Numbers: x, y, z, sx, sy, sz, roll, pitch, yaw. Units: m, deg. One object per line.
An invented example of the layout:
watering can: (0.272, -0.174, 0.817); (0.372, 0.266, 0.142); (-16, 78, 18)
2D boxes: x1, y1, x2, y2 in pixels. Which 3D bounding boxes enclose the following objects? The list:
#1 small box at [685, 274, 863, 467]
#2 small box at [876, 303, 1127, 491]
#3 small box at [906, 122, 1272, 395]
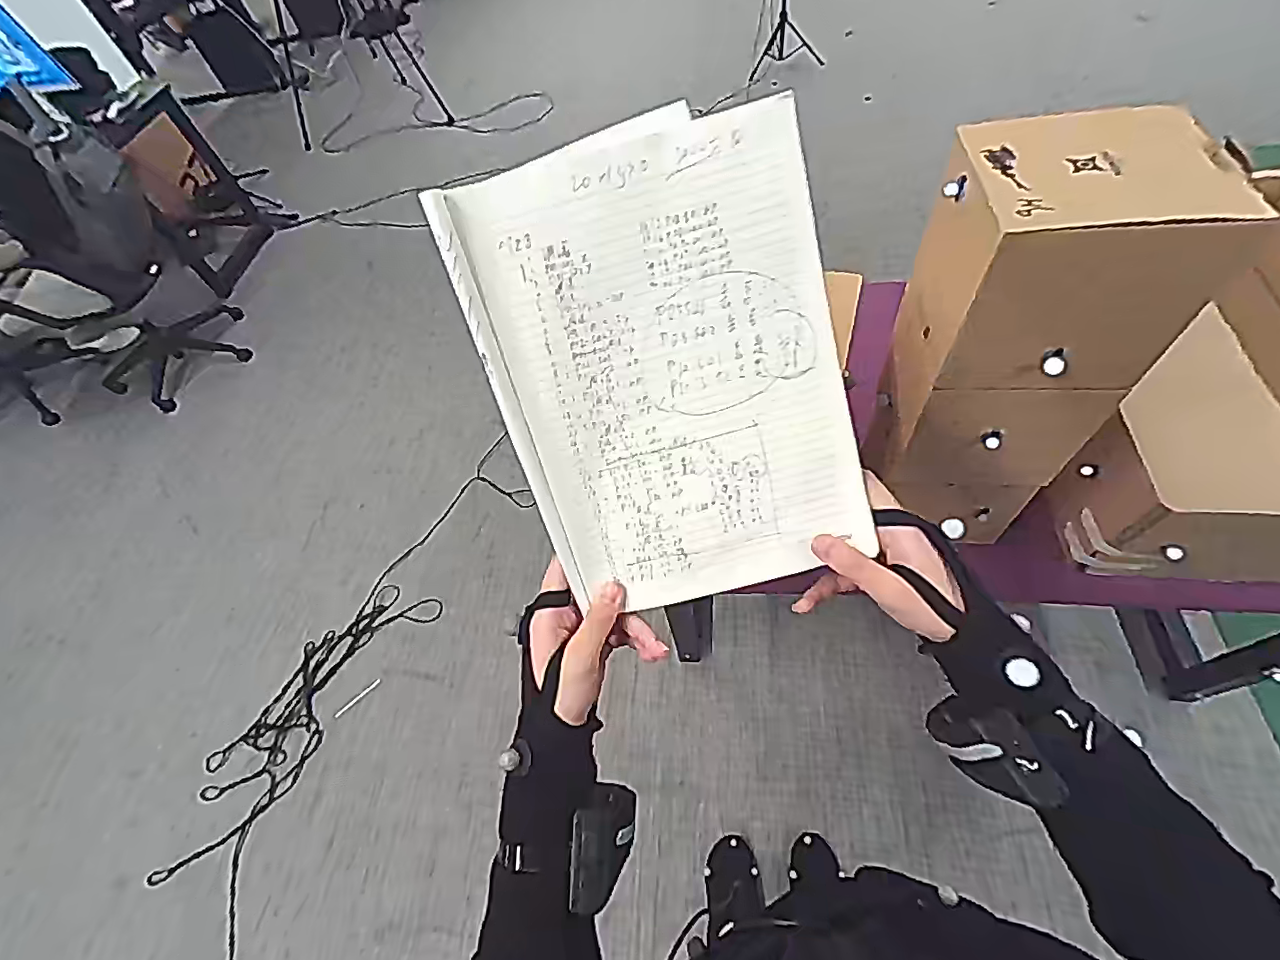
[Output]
small box: (0.170, -0.136, 0.692); (0.179, 0.176, 0.168); (11, 59, 18)
small box: (0.391, -0.098, 0.625); (0.179, 0.176, 0.168); (1, 55, 11)
small box: (0.367, -0.191, 0.491); (0.179, 0.176, 0.168); (2, 55, 10)
